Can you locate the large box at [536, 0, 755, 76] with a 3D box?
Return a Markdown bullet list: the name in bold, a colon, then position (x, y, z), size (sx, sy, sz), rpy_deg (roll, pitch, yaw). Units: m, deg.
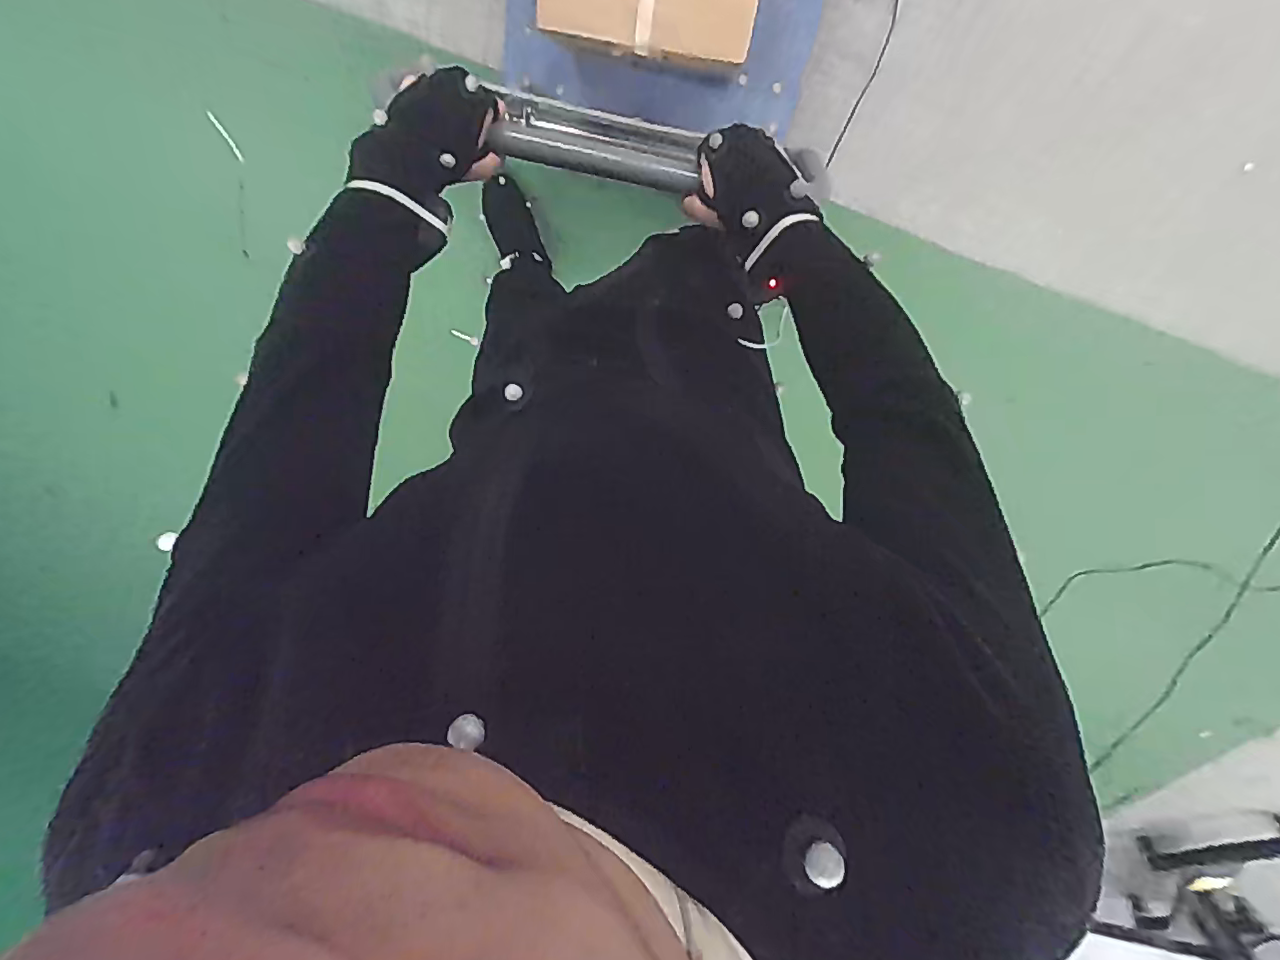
- **large box**: position (0.037, -0.885, 0.815), size (0.320, 0.320, 0.408), rpy_deg (9, 124, -1)
